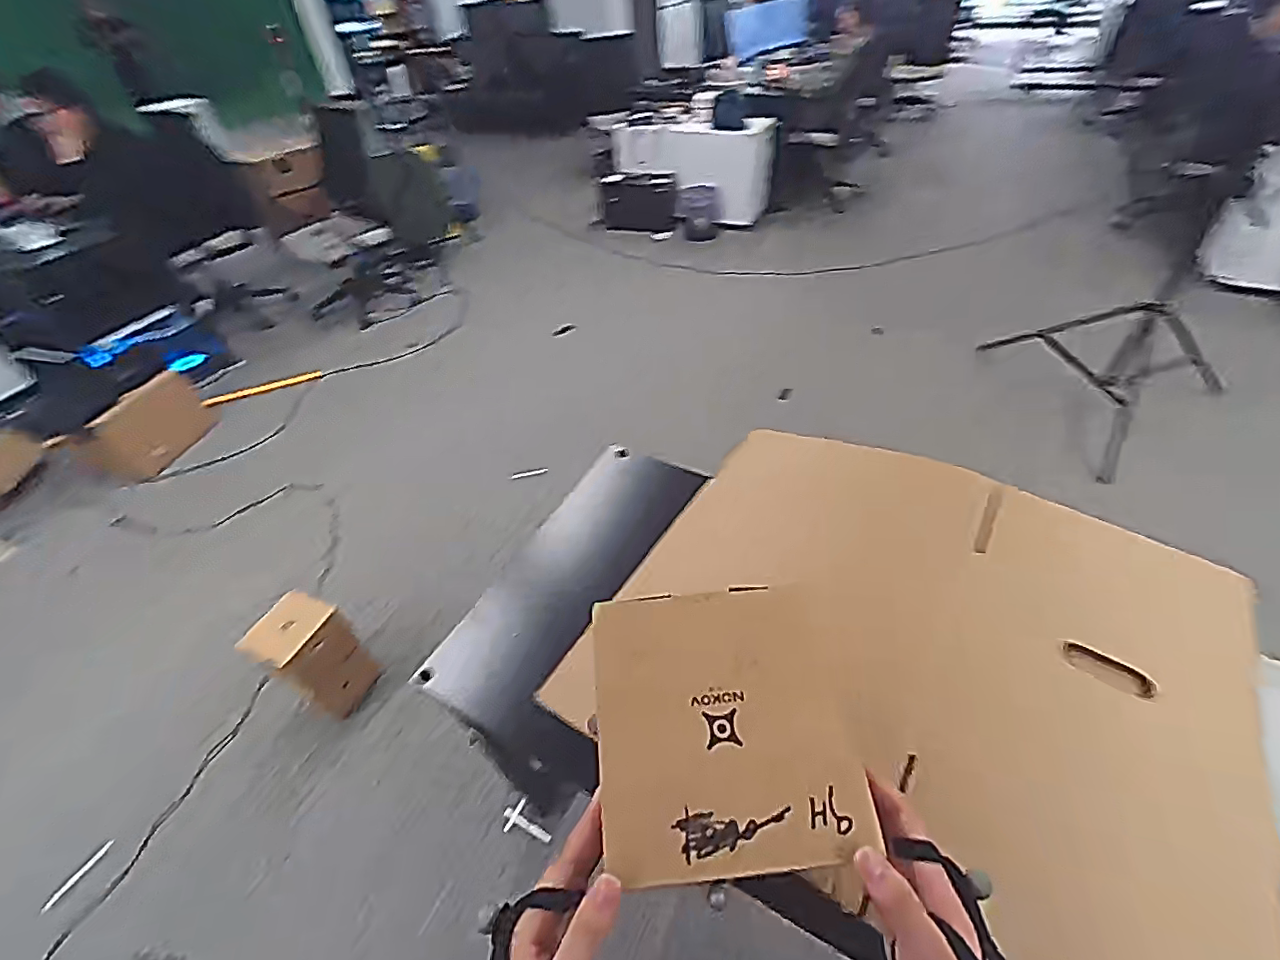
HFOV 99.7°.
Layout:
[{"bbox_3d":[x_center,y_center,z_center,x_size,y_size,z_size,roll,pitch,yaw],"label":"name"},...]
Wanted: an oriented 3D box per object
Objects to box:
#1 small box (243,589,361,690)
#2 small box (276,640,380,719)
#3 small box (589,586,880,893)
[{"bbox_3d":[-0.891,0.429,1.445,0.168,0.176,0.179,14,47,17],"label":"small box"},{"bbox_3d":[-0.882,0.549,1.554,0.168,0.176,0.179,16,49,20],"label":"small box"},{"bbox_3d":[0.051,0.204,0.421,0.168,0.176,0.179,-6,54,-3],"label":"small box"}]
